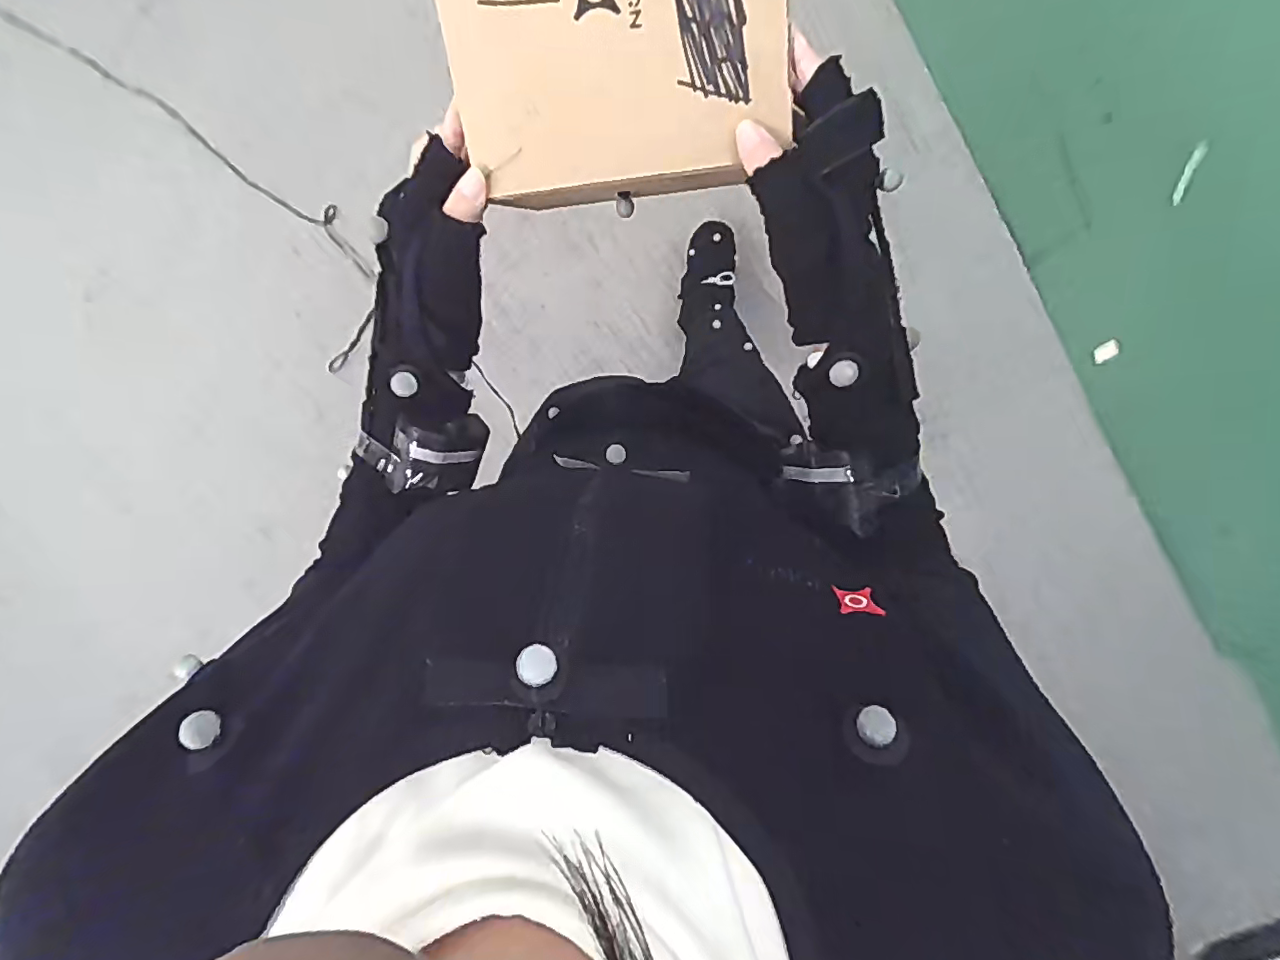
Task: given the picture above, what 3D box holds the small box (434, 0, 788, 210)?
[{"bbox_3d":[-0.014,-0.272,0.339,0.179,0.176,0.168,-6,115,5],"label":"small box"}]
